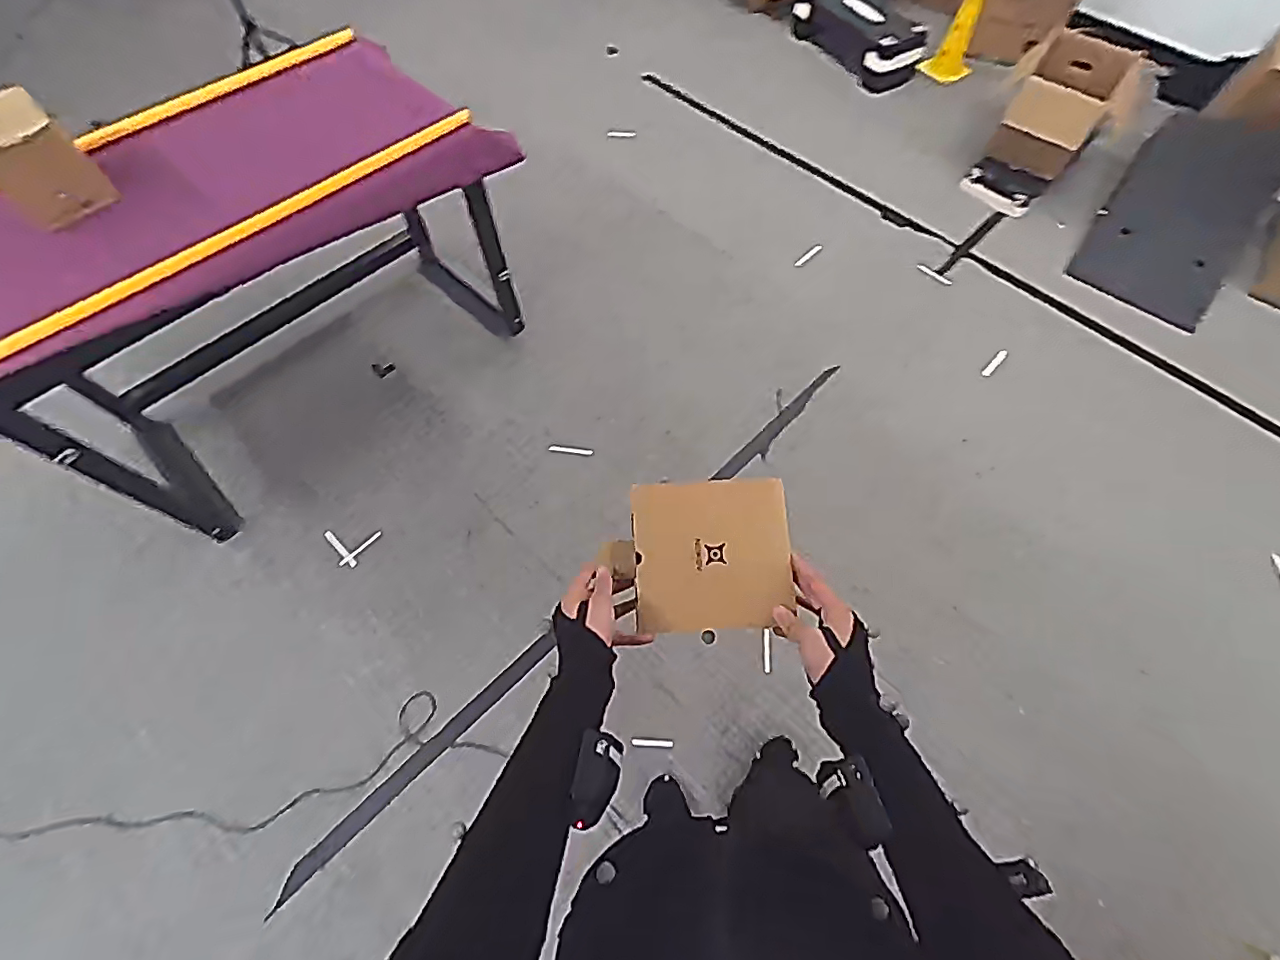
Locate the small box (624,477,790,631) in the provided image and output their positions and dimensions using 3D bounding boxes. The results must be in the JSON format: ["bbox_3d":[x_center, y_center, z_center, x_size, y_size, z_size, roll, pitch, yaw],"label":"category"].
[{"bbox_3d":[0.076,0.094,0.677,0.179,0.176,0.168,-4,79,3],"label":"small box"}]

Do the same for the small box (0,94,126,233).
[{"bbox_3d":[-1.276,-0.669,1.154,0.168,0.176,0.179,-41,73,-17],"label":"small box"}]
